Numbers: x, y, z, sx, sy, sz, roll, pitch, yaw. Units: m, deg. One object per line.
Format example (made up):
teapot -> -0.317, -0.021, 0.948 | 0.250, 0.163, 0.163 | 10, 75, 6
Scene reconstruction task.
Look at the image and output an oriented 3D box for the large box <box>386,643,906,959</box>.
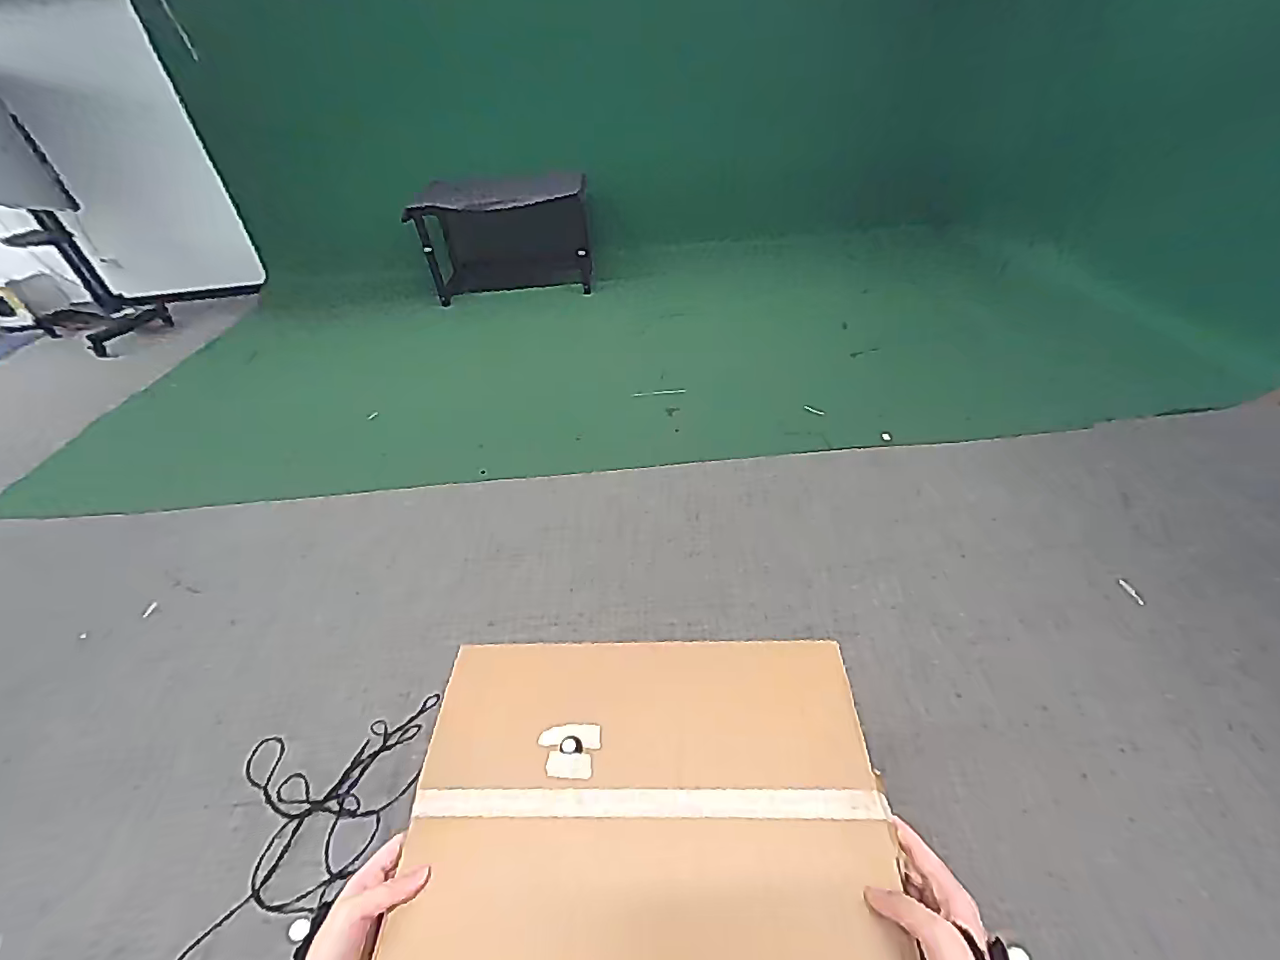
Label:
large box -> 0.016, 0.398, 0.584 | 0.408, 0.320, 0.320 | -3, 44, 5
